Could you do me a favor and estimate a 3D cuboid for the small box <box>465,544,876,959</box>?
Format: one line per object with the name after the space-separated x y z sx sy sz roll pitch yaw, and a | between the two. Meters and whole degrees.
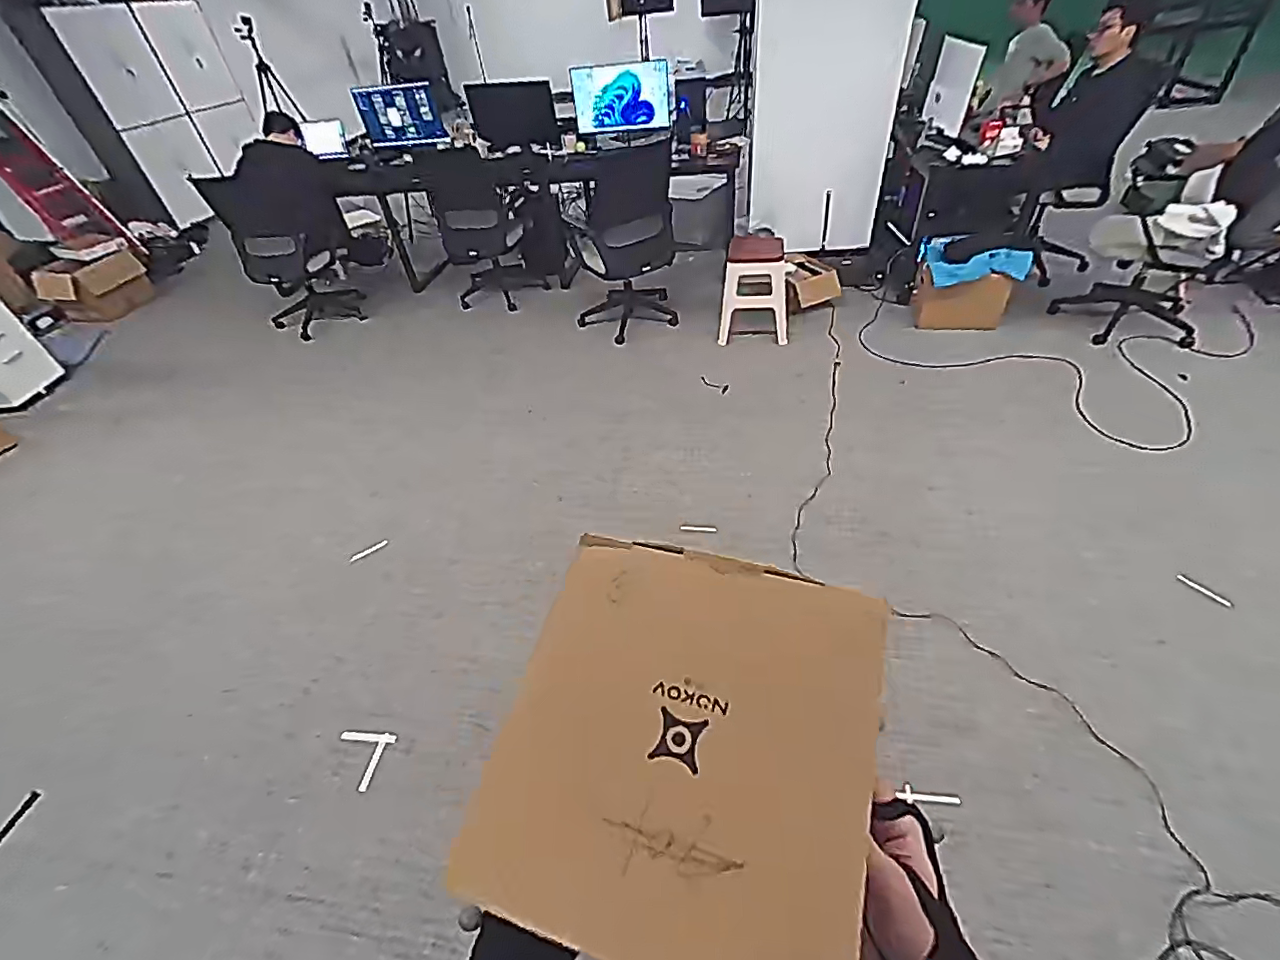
0.033 0.164 0.322 0.168 0.176 0.179 8 59 16 | small box
